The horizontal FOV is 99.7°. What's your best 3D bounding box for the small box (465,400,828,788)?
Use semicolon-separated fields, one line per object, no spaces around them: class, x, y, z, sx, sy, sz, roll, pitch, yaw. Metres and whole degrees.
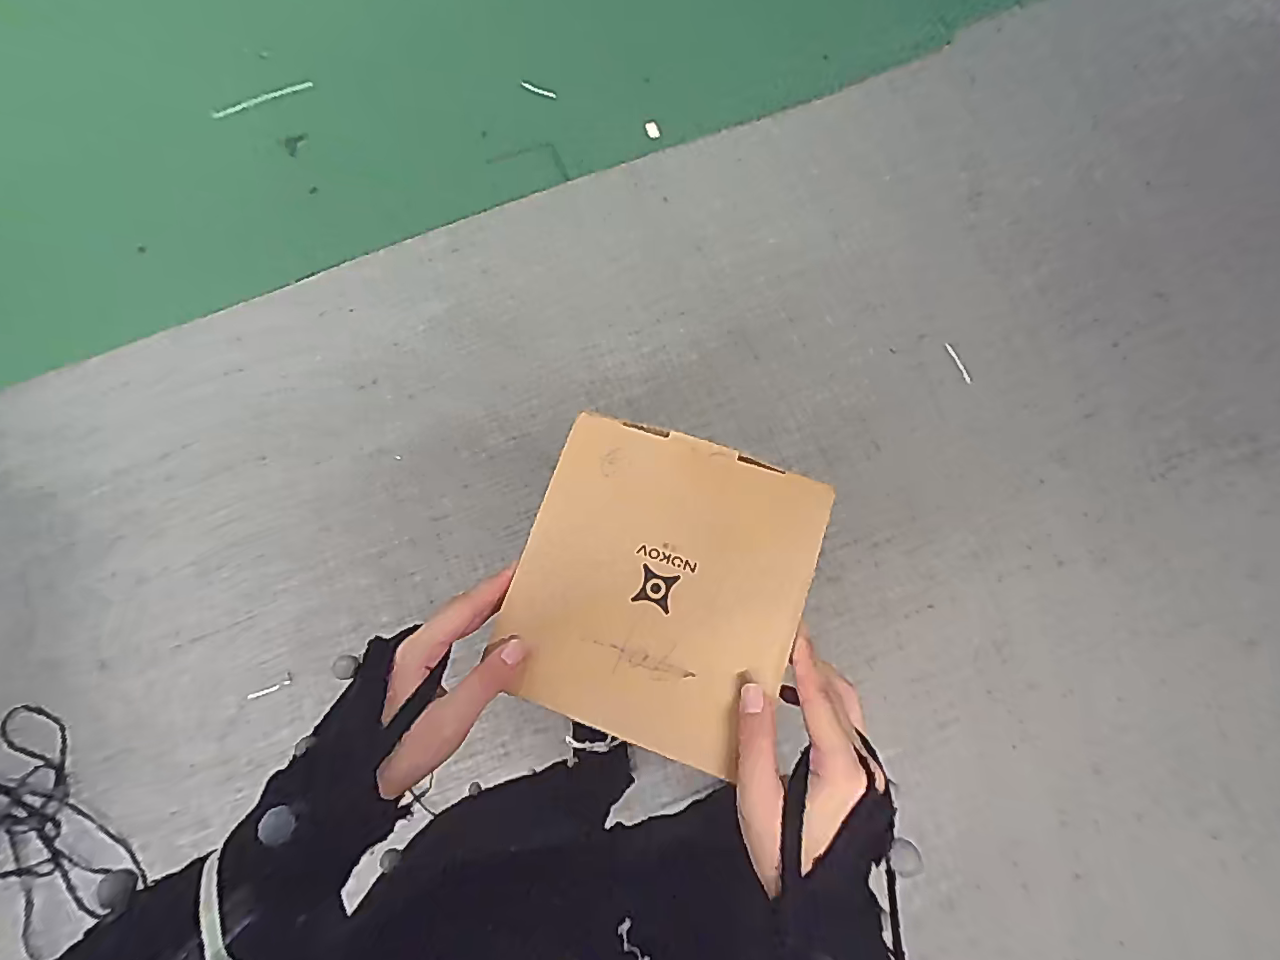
small box;0.010;0.072;0.383;0.168;0.176;0.179;18;80;9
